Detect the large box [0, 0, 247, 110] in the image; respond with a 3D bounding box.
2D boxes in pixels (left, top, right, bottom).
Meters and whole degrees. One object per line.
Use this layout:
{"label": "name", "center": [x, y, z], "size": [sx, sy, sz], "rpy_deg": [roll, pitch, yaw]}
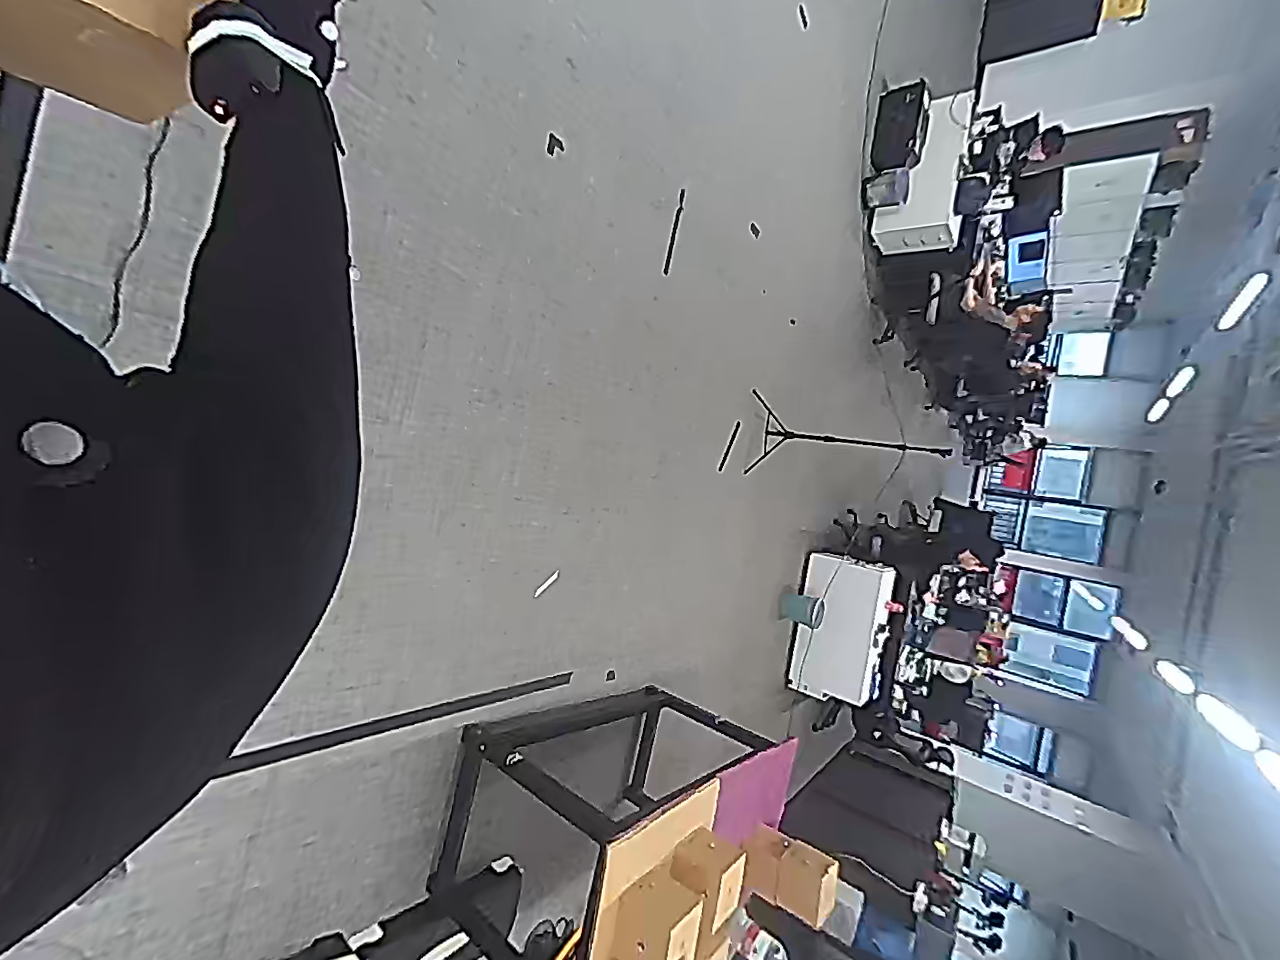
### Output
{"label": "large box", "center": [-0.531, -0.518, 0.342], "size": [0.408, 0.320, 0.320], "rpy_deg": [-1, 106, -54]}
